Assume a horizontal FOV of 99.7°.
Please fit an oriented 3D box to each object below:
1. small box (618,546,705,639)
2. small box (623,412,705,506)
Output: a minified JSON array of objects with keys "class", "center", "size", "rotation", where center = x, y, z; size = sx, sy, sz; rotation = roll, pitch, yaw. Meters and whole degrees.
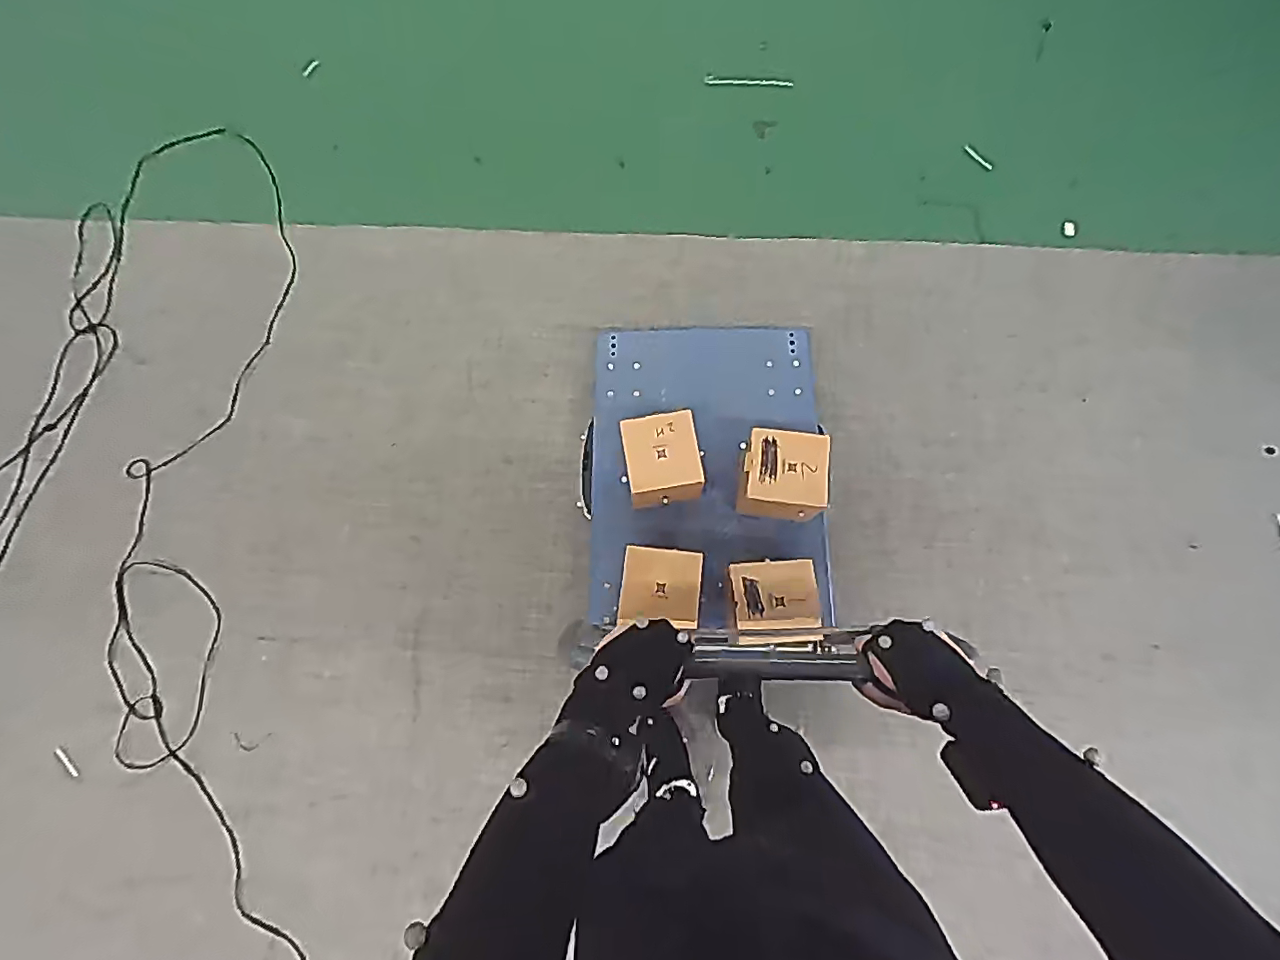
[{"class":"small box","center":[0.047,0.253,1.200],"size":[0.168,0.176,0.179],"rotation":[6,75,3]},{"class":"small box","center":[0.055,-0.042,1.279],"size":[0.168,0.176,0.179],"rotation":[-9,75,-1]}]
